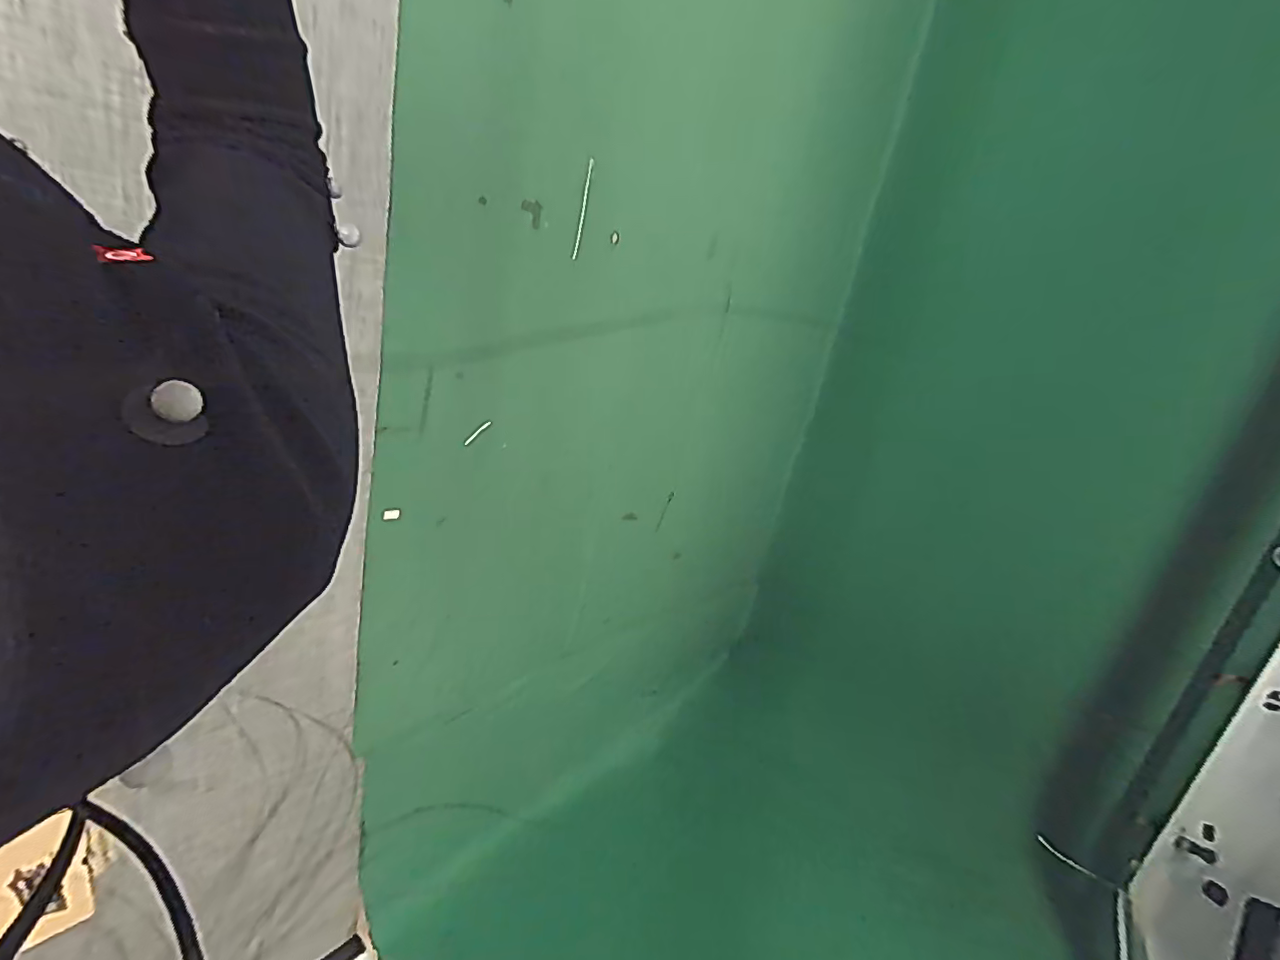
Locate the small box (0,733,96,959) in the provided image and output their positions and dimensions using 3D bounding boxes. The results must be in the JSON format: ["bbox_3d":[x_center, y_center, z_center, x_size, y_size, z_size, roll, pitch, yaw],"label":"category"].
[{"bbox_3d":[-0.747,0.422,0.603,0.179,0.176,0.168,-7,112,-50],"label":"small box"}]
